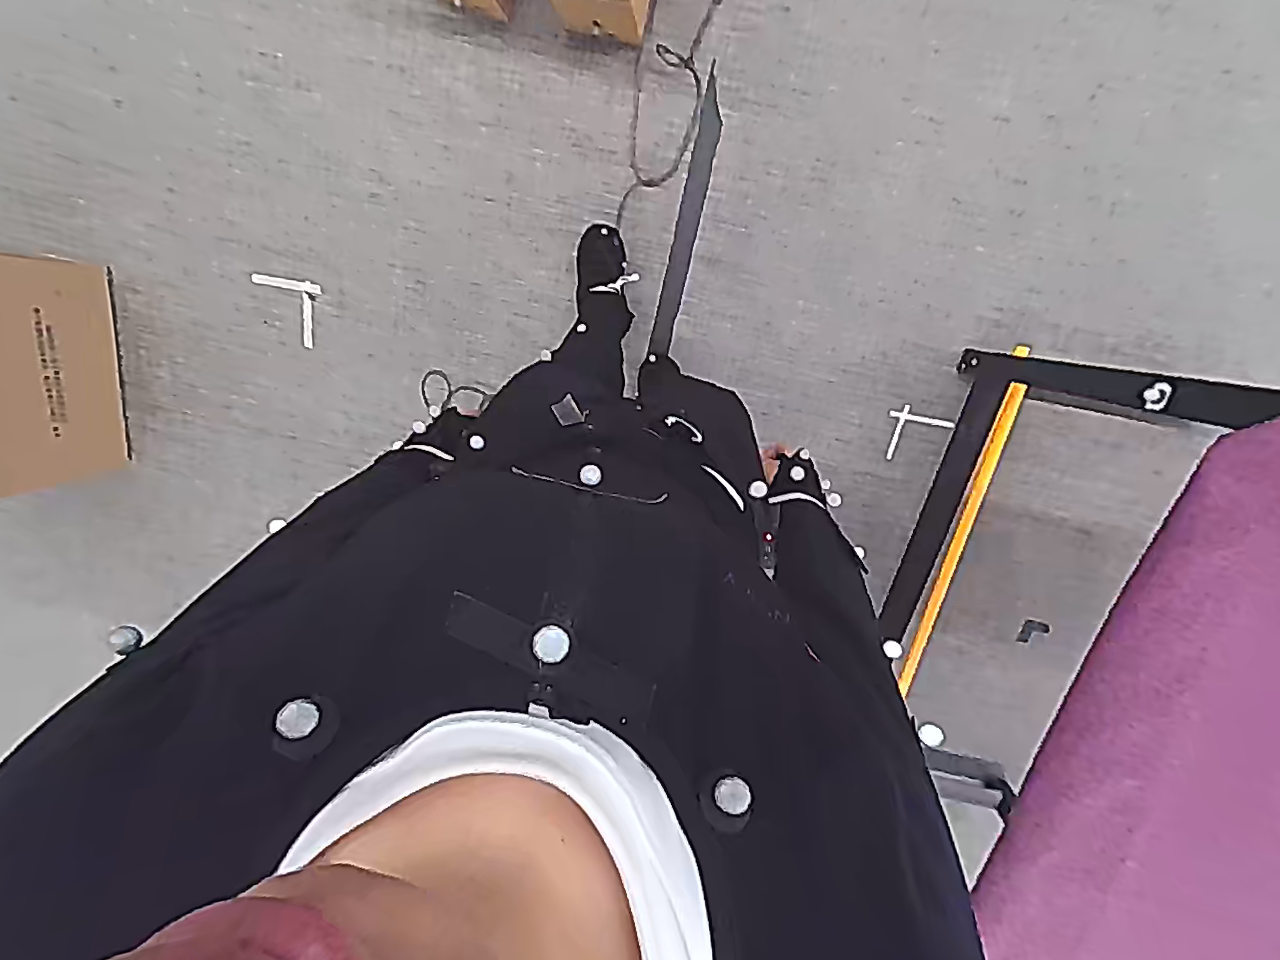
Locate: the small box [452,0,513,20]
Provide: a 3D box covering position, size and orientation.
[{"bbox_3d":[-0.321,-1.012,0.994,0.168,0.176,0.179,20,109,-1],"label":"small box"}]

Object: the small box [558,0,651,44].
[{"bbox_3d":[-0.063,-0.953,0.989,0.168,0.176,0.179,15,108,2],"label":"small box"}]
